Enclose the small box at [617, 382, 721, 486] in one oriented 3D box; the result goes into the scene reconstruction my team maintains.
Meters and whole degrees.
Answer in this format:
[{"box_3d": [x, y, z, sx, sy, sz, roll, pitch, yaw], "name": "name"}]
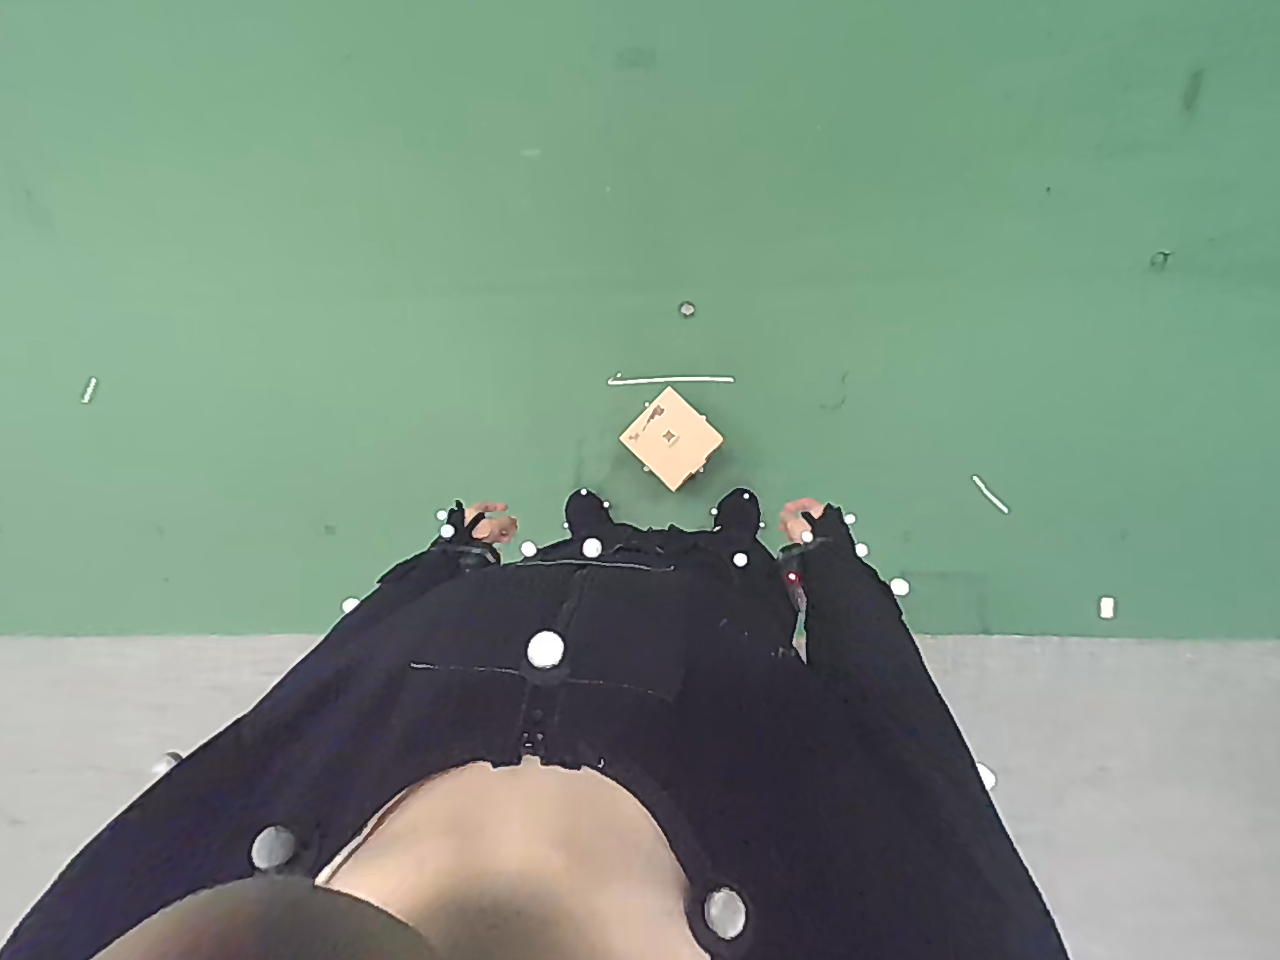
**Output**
[{"box_3d": [0.070, -0.106, 1.279, 0.179, 0.176, 0.168, 45, 94, 2], "name": "small box"}]
